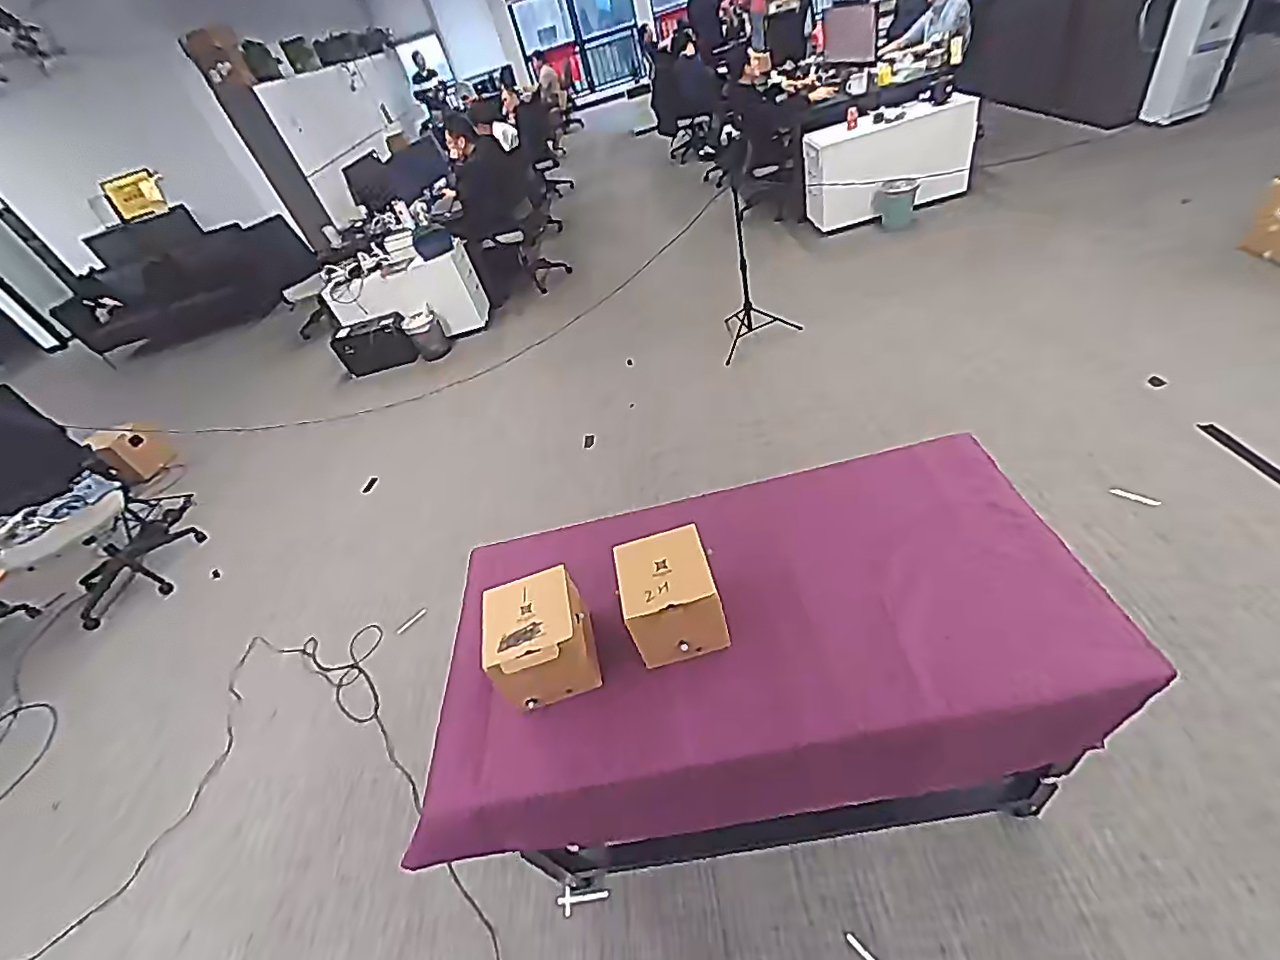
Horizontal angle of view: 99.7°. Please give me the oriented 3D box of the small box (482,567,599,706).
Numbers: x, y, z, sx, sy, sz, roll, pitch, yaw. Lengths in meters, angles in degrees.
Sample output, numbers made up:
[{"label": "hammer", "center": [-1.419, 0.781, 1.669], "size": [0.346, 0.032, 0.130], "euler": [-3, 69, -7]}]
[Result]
[{"label": "small box", "center": [-0.186, 0.304, 1.028], "size": [0.168, 0.176, 0.179], "euler": [-19, 40, -1]}]

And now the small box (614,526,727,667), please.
[{"label": "small box", "center": [0.057, 0.222, 1.026], "size": [0.168, 0.176, 0.179], "euler": [-17, 41, 3]}]
